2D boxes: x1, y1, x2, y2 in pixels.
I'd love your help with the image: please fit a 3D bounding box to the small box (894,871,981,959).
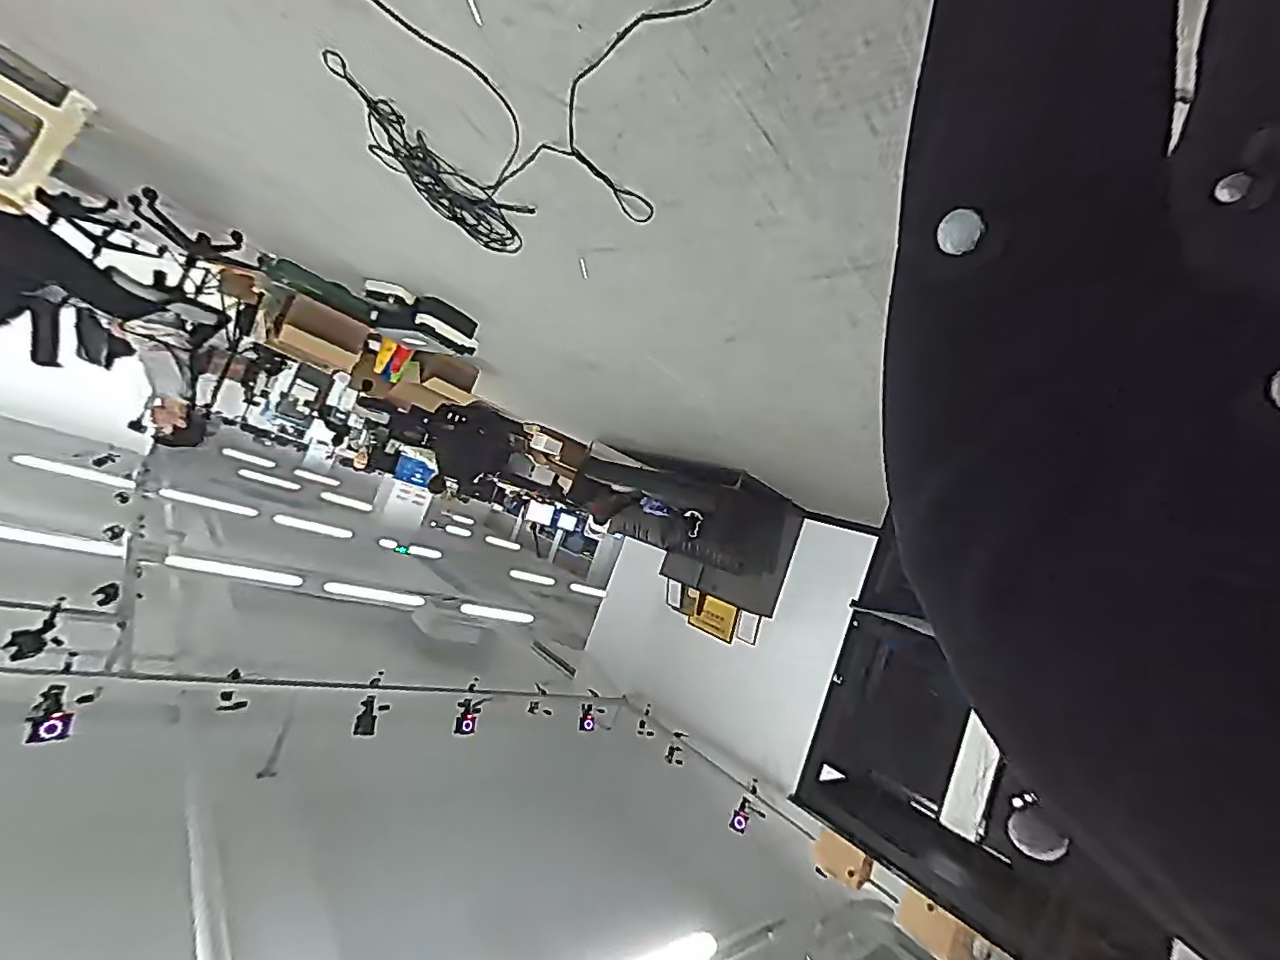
[{"bbox_3d":[0.922,1.349,1.669,0.179,0.176,0.168,25,173,-38],"label":"small box"}]
